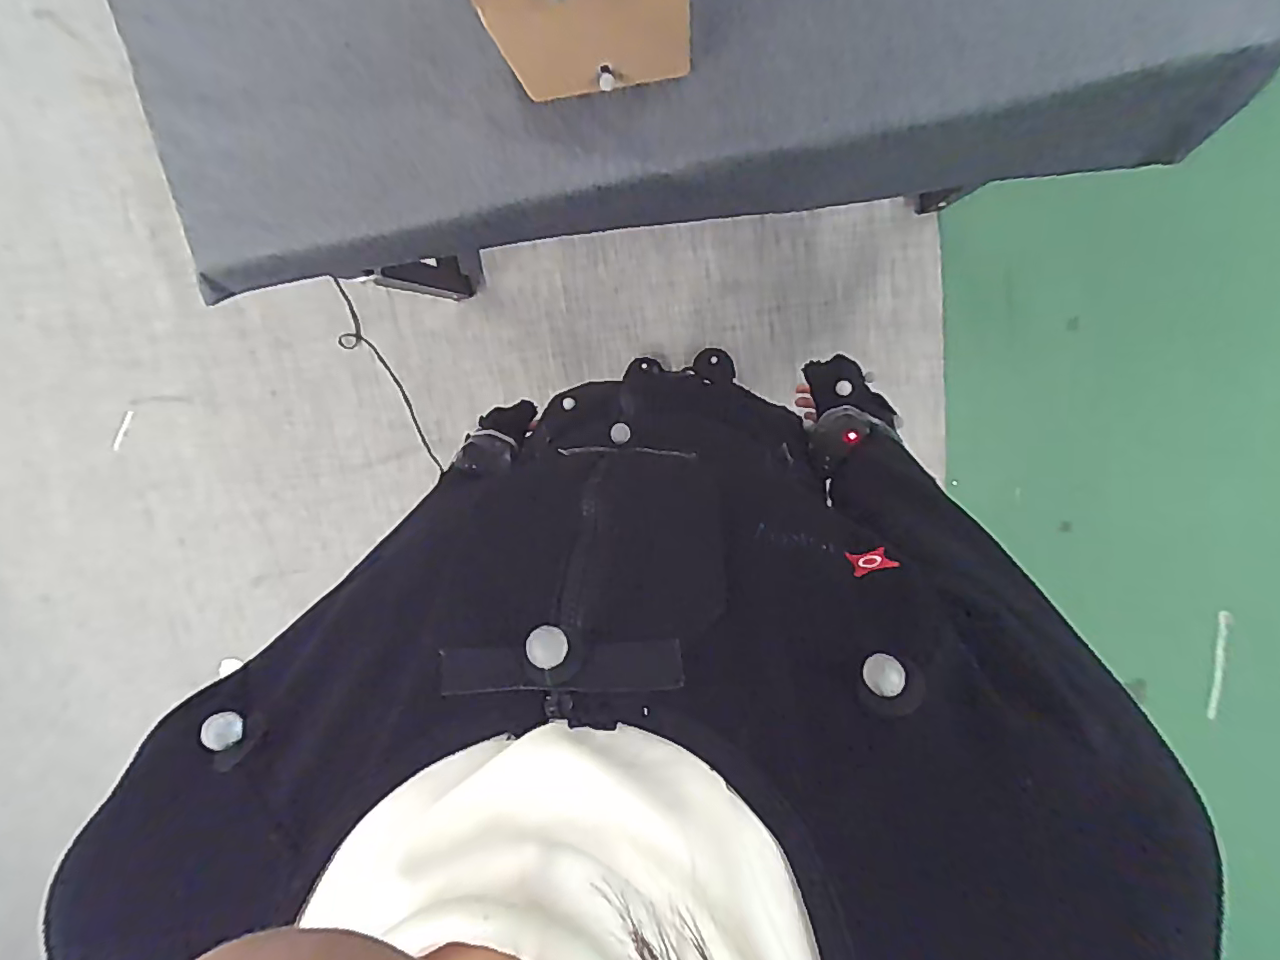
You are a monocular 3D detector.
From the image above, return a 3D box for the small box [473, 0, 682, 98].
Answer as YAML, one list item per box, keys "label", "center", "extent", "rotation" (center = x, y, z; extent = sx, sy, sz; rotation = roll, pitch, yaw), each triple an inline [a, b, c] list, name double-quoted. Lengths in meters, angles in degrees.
- label: "small box"
  center: [-0.055, -0.490, 0.497]
  extent: [0.179, 0.176, 0.168]
  rotation: [-6, 102, 6]
